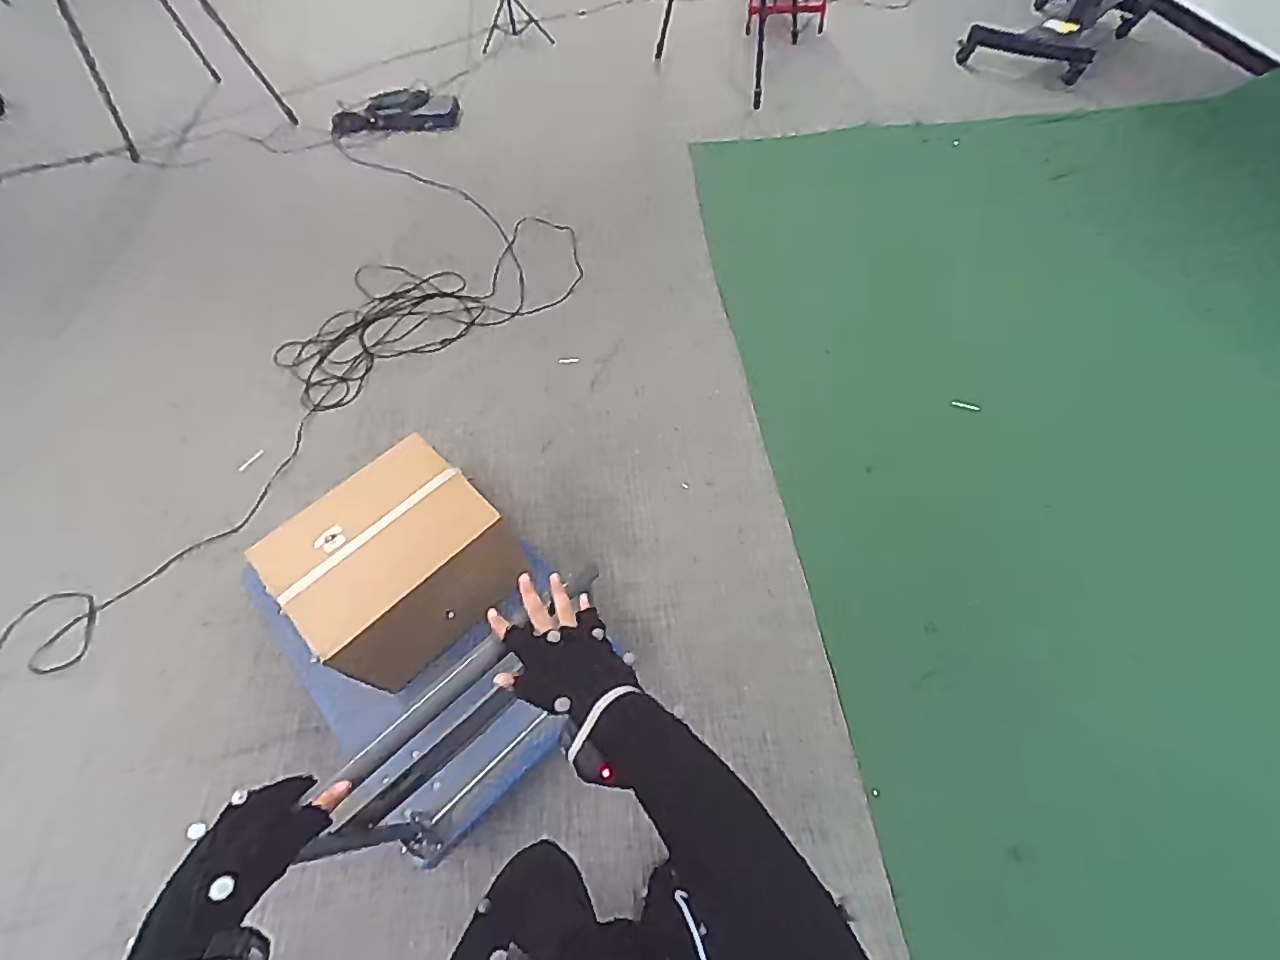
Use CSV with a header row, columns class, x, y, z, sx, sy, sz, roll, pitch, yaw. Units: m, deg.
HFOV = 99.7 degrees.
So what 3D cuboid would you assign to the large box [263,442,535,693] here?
class,x,y,z,sx,sy,sz,roll,pitch,yaw
large box,-0.508,0.201,1.222,0.320,0.320,0.408,39,68,24
